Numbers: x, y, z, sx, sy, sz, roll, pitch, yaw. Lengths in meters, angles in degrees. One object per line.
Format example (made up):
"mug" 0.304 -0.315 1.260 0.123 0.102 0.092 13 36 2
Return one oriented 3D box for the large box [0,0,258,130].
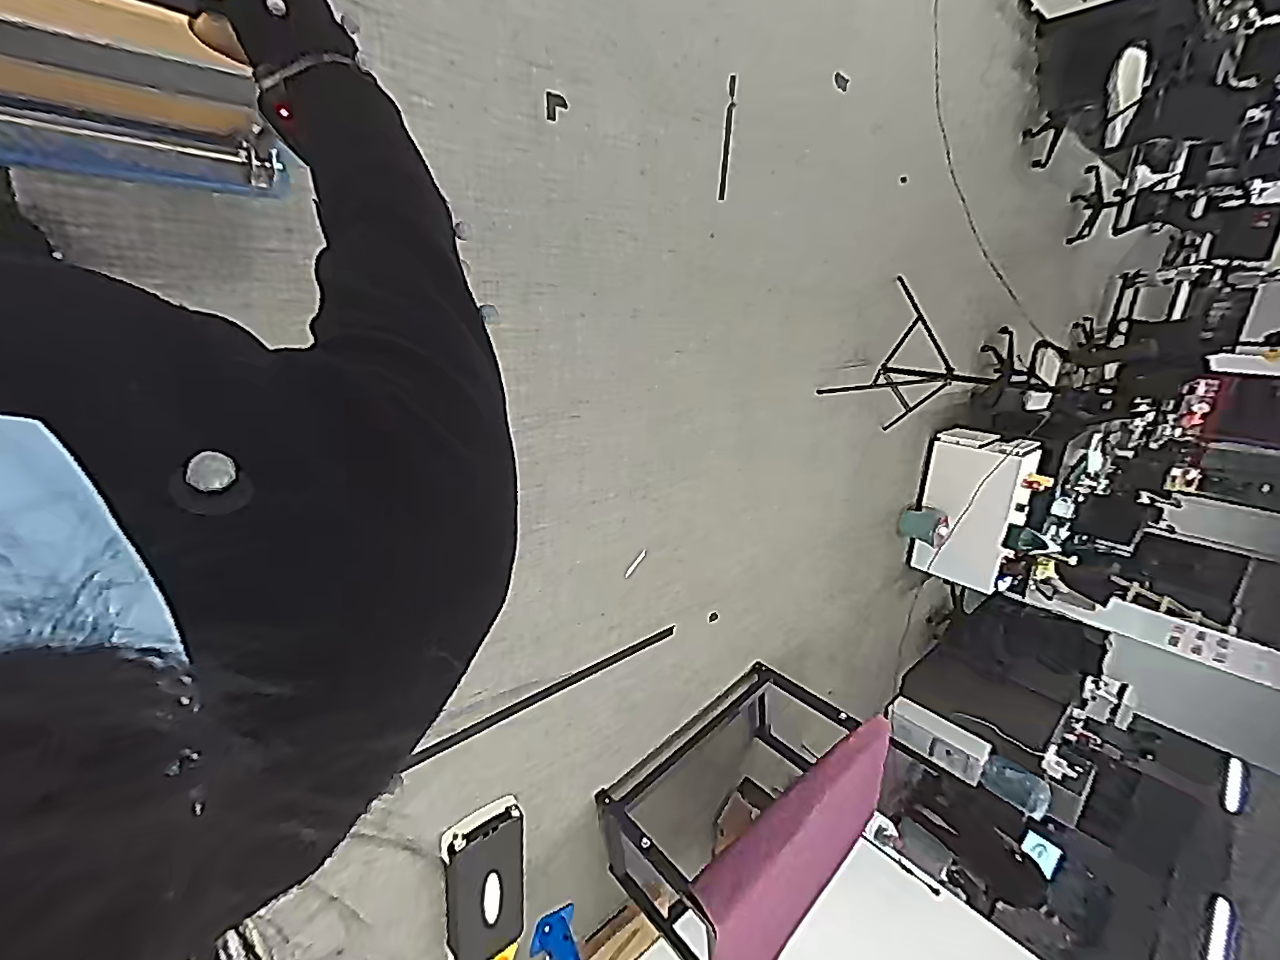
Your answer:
"large box" -0.773 -0.693 0.683 0.408 0.320 0.320 -13 113 -41
